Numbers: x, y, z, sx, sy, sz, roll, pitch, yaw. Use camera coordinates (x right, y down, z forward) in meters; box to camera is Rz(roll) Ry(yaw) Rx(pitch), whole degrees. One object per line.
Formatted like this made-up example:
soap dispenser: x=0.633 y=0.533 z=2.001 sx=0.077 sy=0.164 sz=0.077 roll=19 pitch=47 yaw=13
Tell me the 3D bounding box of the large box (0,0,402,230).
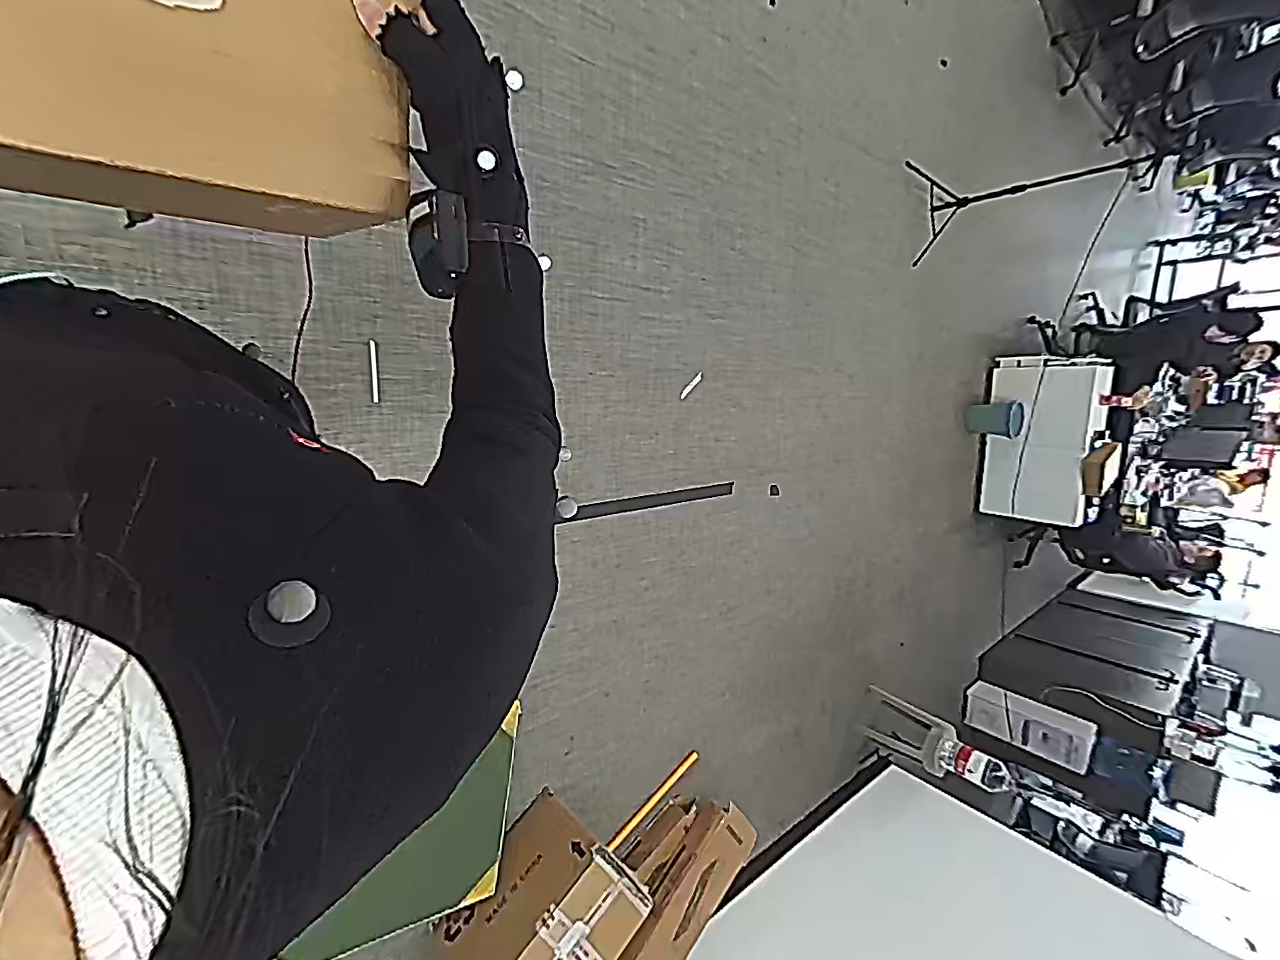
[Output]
large box: x=-0.424 y=-0.376 z=0.370 sx=0.408 sy=0.320 sz=0.320 roll=-8 pitch=113 yaw=-39
